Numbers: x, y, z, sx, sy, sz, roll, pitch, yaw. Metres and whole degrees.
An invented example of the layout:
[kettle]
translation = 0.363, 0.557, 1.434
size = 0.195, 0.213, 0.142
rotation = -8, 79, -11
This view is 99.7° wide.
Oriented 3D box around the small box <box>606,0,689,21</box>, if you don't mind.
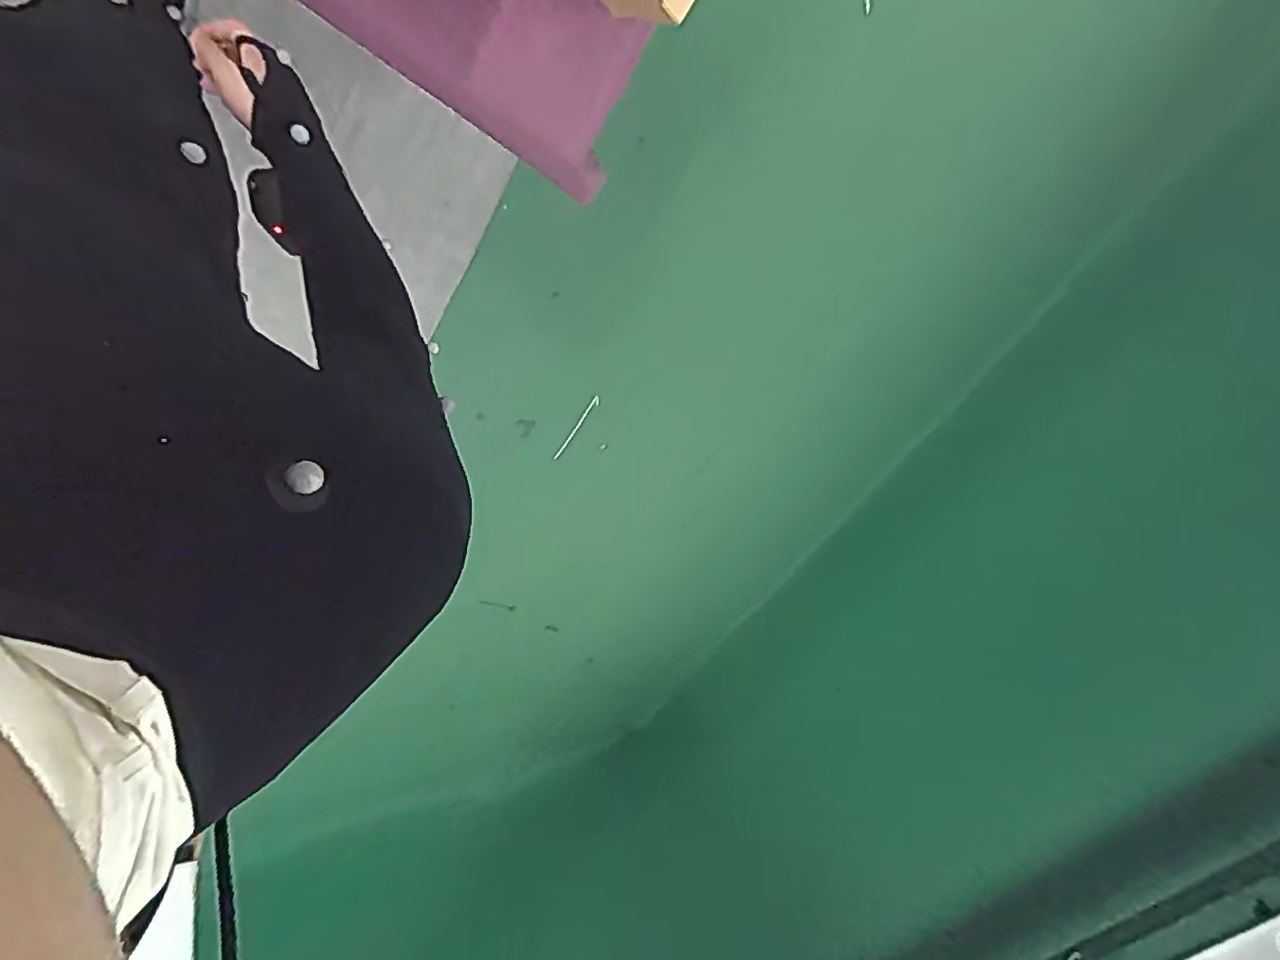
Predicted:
[small box]
translation = -0.004, -0.640, 0.563
size = 0.168, 0.176, 0.179
rotation = 16, 119, -45
